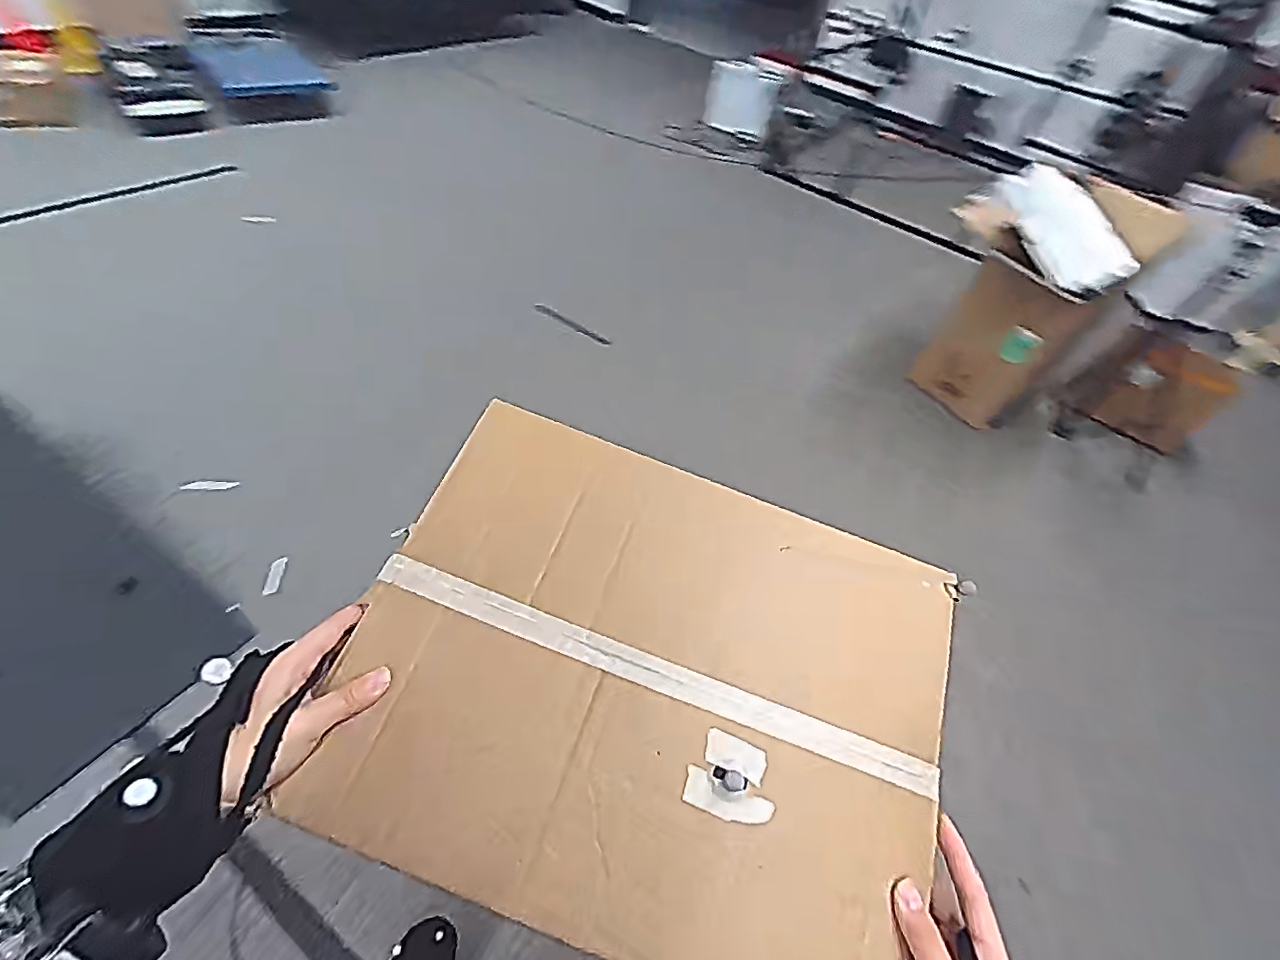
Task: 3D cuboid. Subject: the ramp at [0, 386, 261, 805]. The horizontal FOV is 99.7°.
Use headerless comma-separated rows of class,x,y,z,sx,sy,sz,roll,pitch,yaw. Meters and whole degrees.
ramp,-1.450,0.194,1.269,0.991,0.206,0.509,32,50,14
